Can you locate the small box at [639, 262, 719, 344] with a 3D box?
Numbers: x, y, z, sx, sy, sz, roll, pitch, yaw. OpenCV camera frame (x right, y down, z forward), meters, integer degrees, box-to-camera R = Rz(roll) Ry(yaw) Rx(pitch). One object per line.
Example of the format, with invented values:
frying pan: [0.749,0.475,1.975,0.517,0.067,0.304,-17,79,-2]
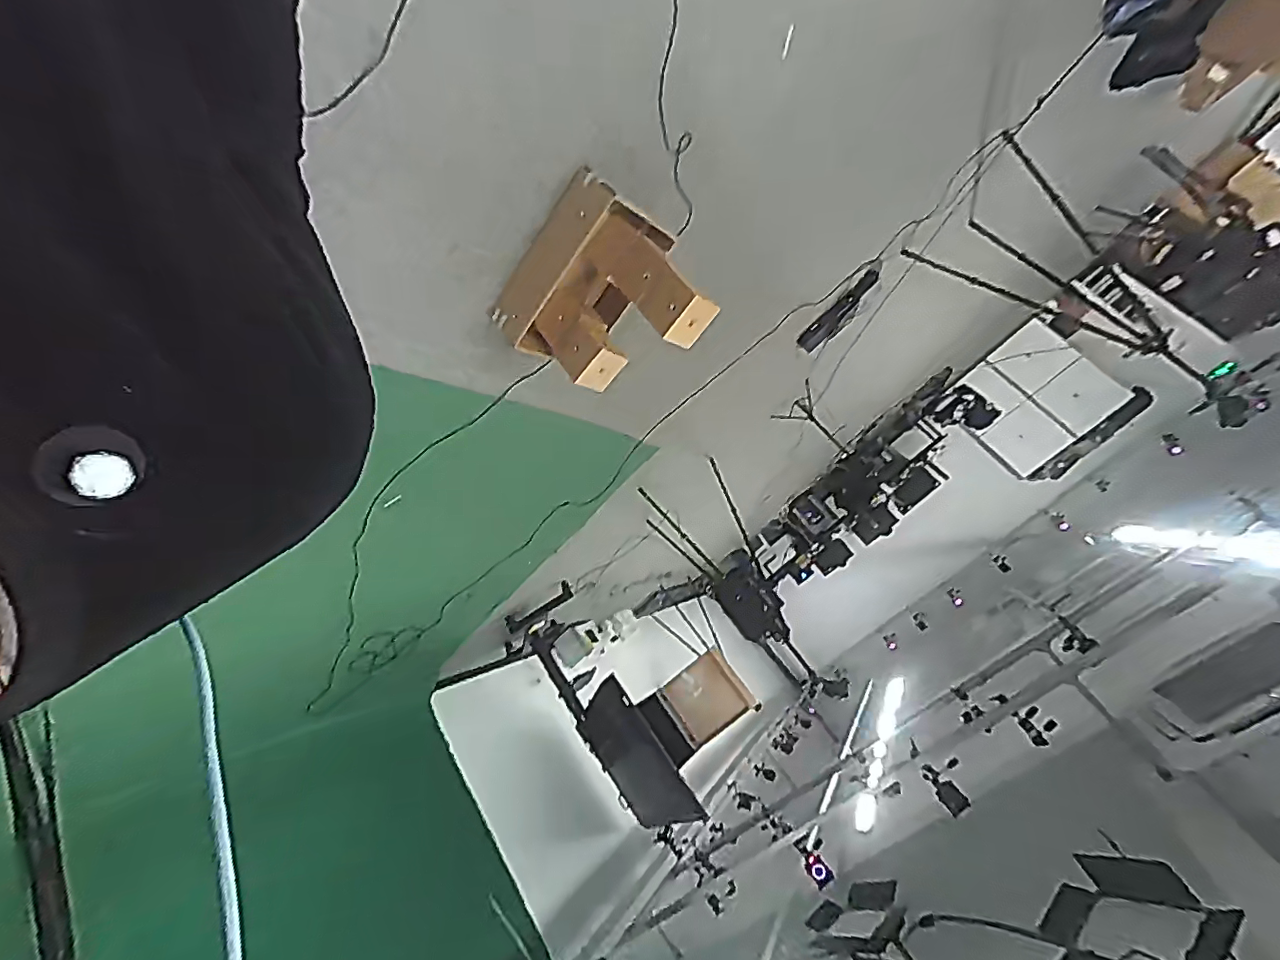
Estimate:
small box: [0.122,-0.585,1.795,0.168,0.176,0.179,0,137,-54]

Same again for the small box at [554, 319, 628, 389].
small box: [-0.184,-0.466,1.994,0.168,0.176,0.179,-46,157,22]

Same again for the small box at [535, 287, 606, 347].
small box: [-0.267,-0.598,2.051,0.179,0.176,0.168,-47,156,21]

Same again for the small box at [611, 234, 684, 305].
small box: [0.032,-0.705,1.856,0.179,0.176,0.168,-46,155,22]
